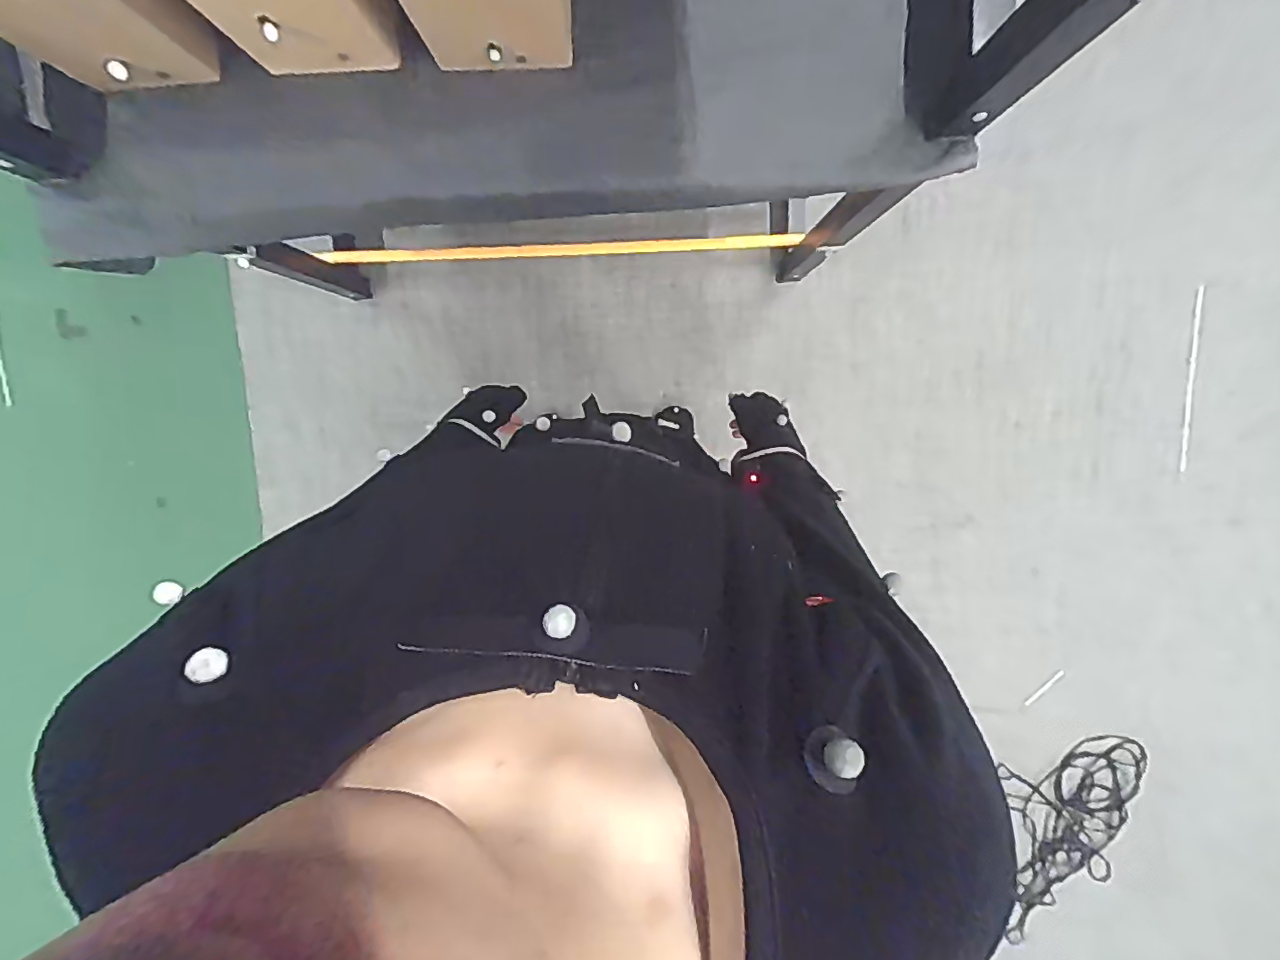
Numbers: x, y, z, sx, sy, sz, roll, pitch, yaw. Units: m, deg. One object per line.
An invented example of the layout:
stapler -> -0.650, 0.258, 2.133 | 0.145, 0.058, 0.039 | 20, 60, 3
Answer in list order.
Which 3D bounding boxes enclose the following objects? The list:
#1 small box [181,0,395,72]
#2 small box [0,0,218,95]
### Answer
small box -> -0.384, -0.578, 0.586 | 0.168, 0.176, 0.179 | -2, 97, 0
small box -> -0.611, -0.564, 0.588 | 0.168, 0.176, 0.179 | -4, 98, 1
